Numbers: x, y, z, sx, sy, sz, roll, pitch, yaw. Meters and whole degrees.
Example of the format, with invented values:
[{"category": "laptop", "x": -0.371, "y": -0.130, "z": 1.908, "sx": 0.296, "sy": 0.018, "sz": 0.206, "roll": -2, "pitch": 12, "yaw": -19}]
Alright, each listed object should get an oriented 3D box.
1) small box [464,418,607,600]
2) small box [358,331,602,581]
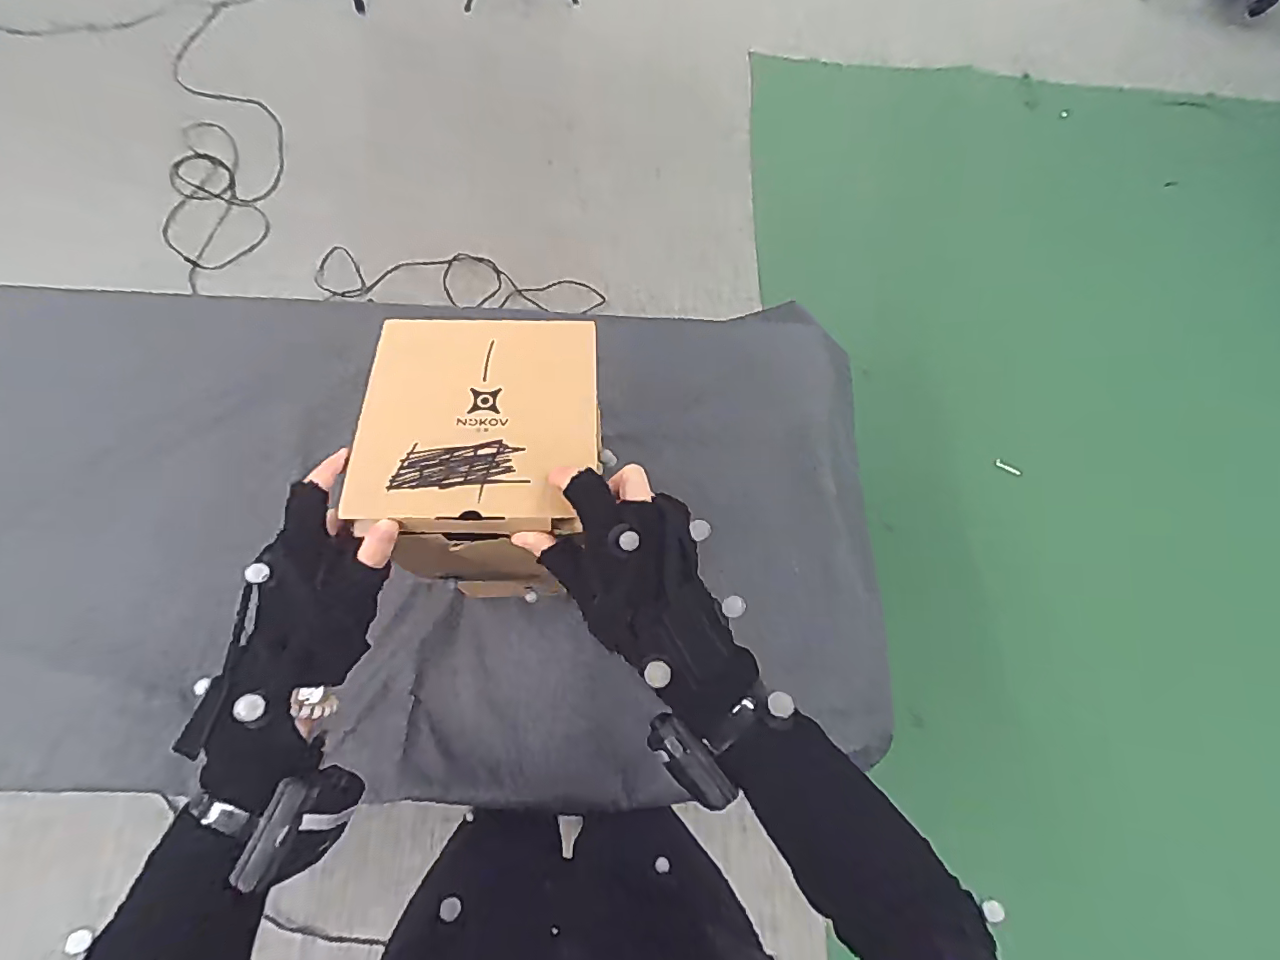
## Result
[{"category": "small box", "x": -0.123, "y": 0.039, "z": 0.636, "sx": 0.168, "sy": 0.176, "sz": 0.179, "roll": -1, "pitch": 69, "yaw": -3}, {"category": "small box", "x": -0.118, "y": -0.009, "z": 0.478, "sx": 0.168, "sy": 0.176, "sz": 0.179, "roll": 0, "pitch": 68, "yaw": -4}]
